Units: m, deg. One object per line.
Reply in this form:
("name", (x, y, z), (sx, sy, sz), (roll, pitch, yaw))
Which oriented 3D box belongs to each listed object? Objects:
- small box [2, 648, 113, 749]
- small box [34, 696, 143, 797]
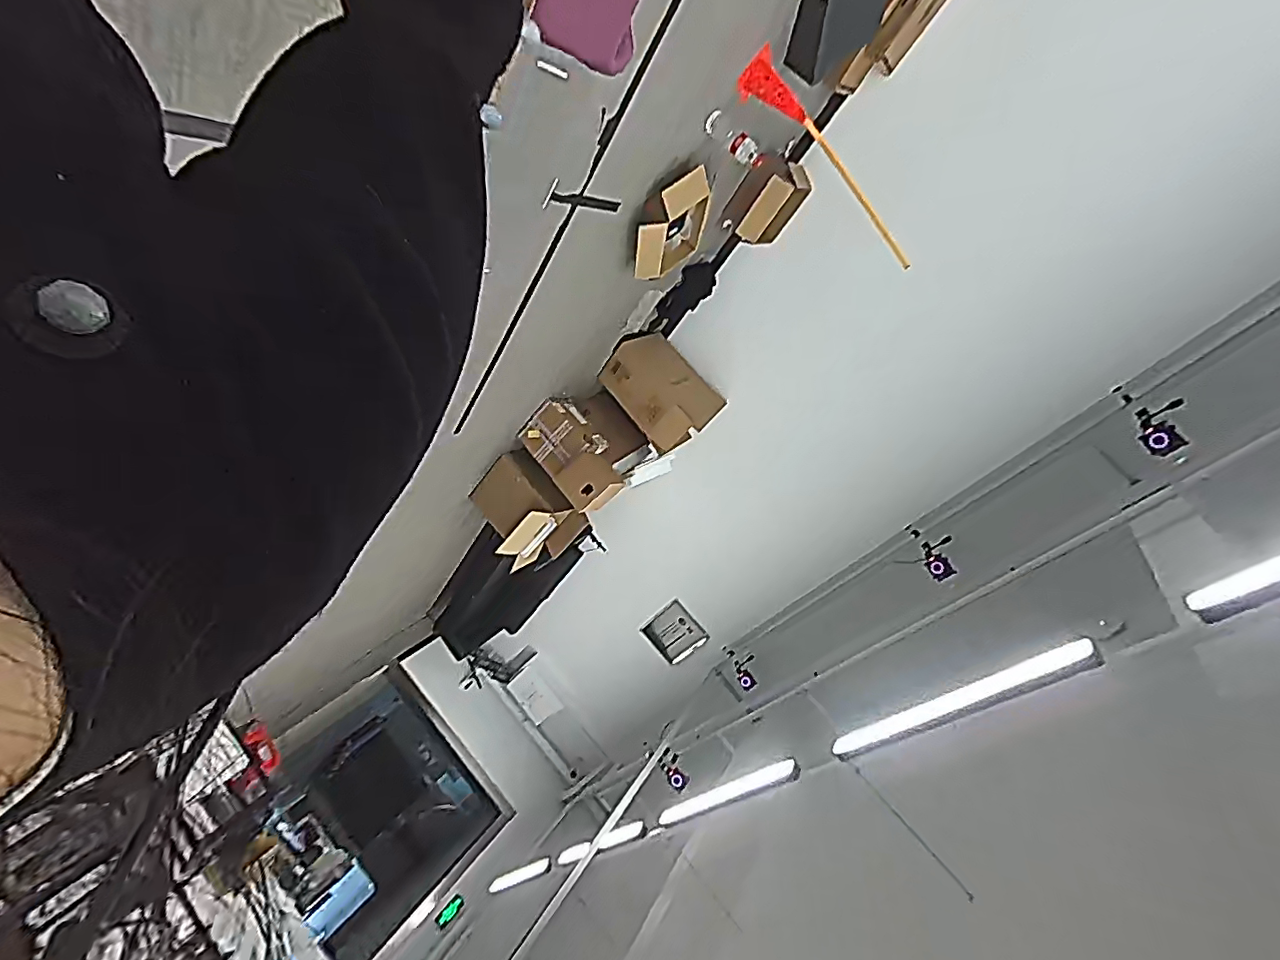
("small box", (-1.668, 0.619, 1.546), (0.168, 0.176, 0.179), (-46, 172, 33))
("small box", (-1.565, 0.748, 1.533), (0.179, 0.176, 0.168), (-46, 172, 31))
